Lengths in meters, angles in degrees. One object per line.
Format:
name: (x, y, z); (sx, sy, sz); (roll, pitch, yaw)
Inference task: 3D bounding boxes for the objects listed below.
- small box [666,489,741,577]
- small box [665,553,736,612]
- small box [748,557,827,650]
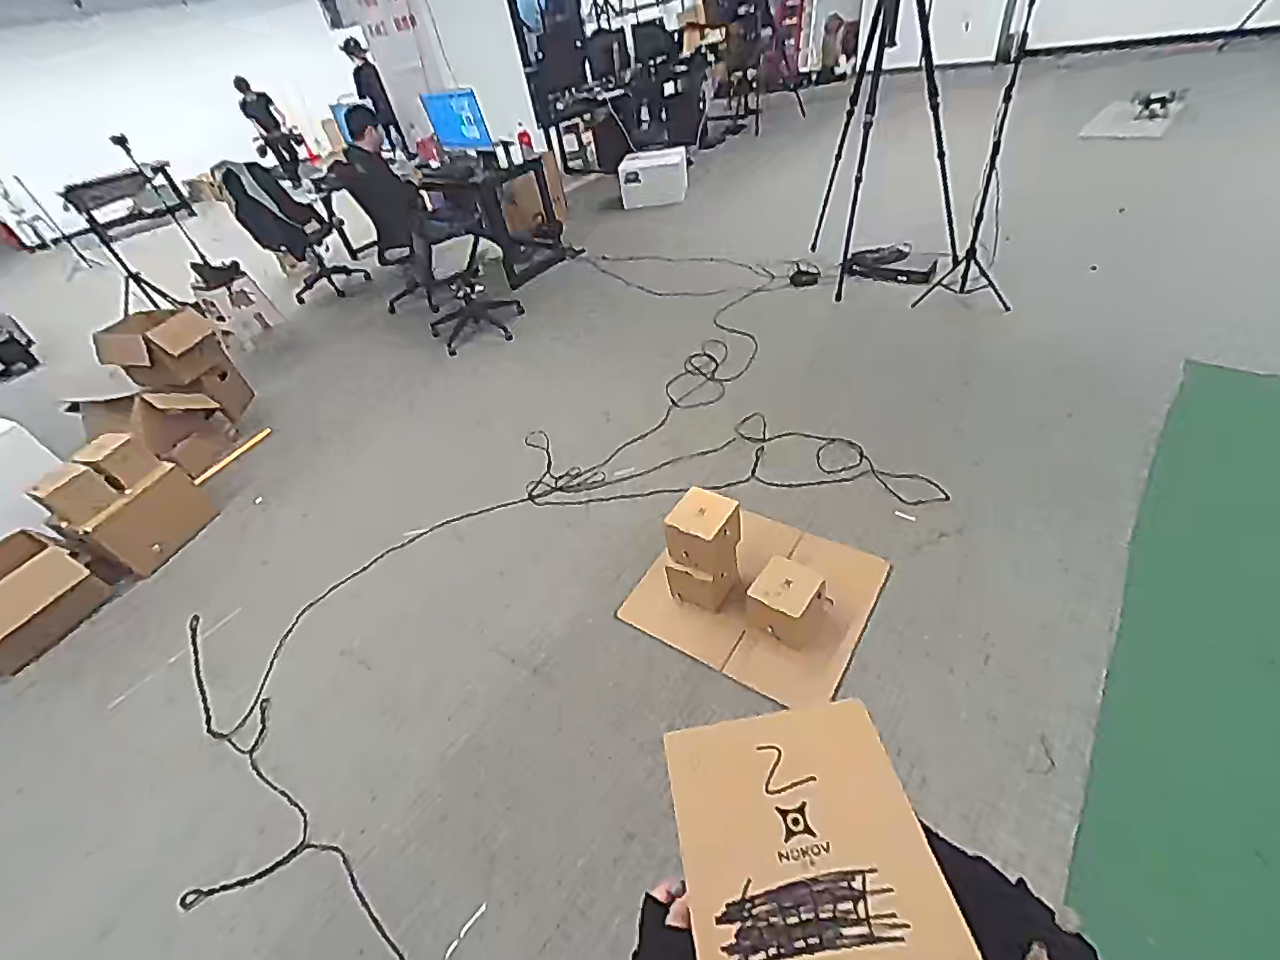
small box: (0.198, 0.161, 1.657); (0.168, 0.176, 0.179); (20, 51, 31)
small box: (0.205, 0.297, 1.751); (0.168, 0.176, 0.179); (18, 49, 30)
small box: (0.439, 0.369, 1.617); (0.168, 0.176, 0.179); (23, 53, 35)
